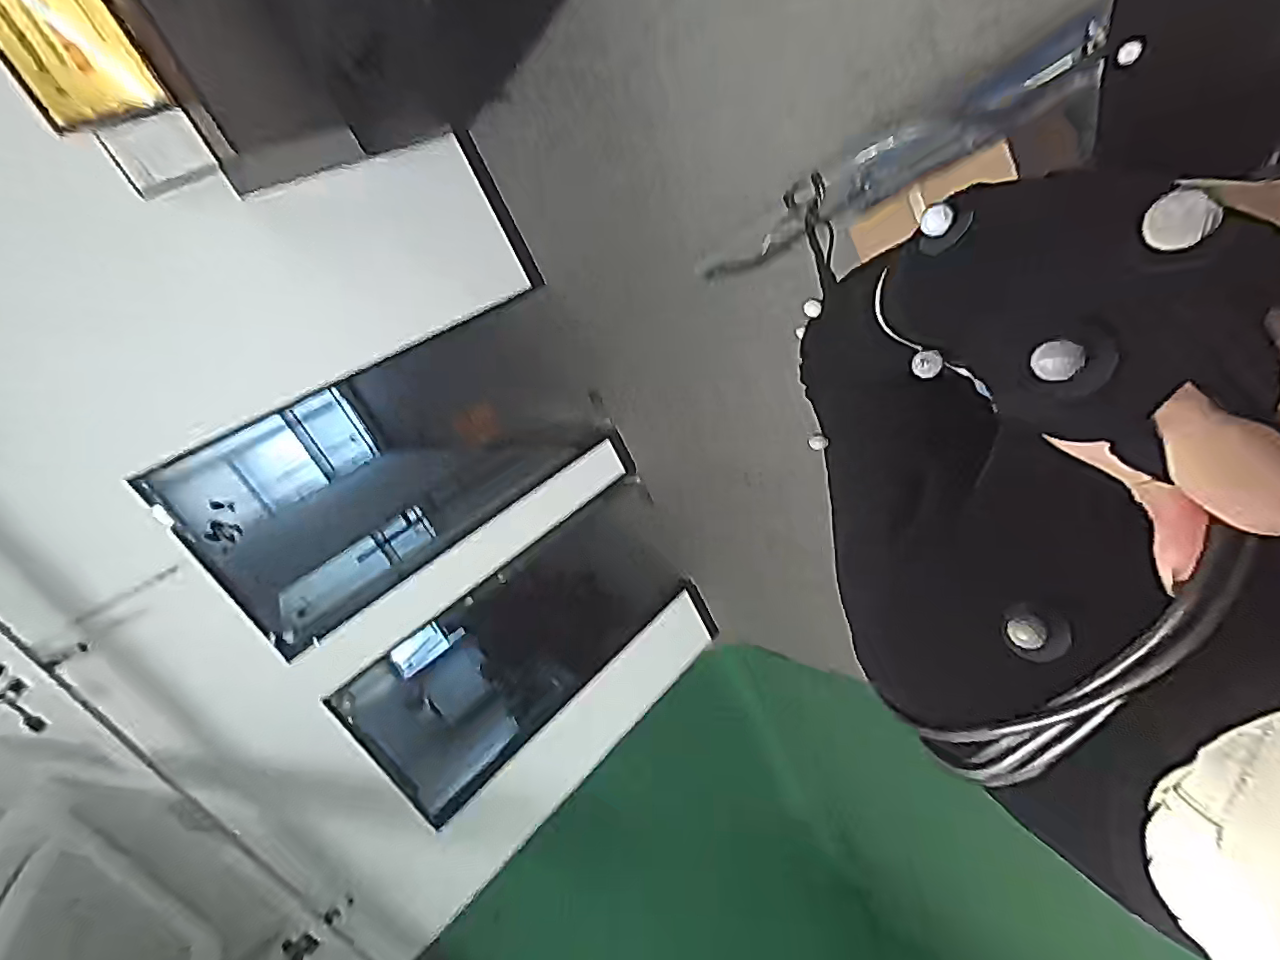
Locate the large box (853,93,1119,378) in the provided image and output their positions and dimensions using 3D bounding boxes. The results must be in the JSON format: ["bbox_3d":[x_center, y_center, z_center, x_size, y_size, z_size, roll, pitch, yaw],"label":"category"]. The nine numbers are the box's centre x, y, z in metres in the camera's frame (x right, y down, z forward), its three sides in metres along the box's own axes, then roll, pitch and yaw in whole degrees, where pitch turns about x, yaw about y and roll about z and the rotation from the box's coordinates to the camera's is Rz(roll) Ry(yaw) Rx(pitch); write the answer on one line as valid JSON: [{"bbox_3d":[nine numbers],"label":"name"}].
[{"bbox_3d":[0.726,-0.489,1.133,0.320,0.320,0.408,-6,118,58],"label":"large box"}]
